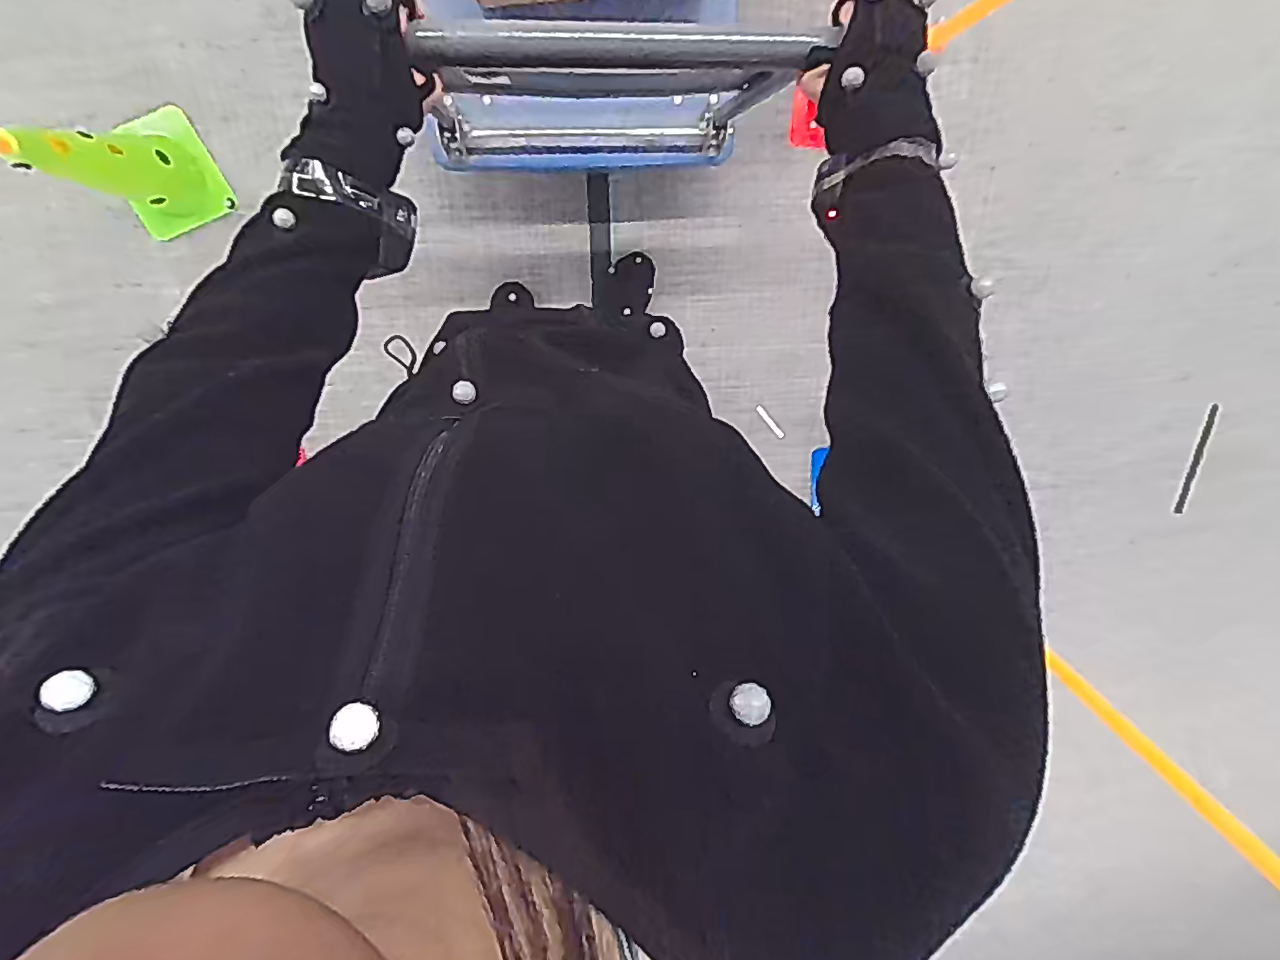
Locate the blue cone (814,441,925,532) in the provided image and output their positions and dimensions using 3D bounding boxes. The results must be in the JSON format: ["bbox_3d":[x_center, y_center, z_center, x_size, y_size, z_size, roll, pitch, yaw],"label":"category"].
[{"bbox_3d":[0.613,0.045,1.404,0.193,0.380,0.192,-8,112,-5],"label":"blue cone"}]

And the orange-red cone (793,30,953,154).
[{"bbox_3d":[0.468,-0.775,1.034,0.199,0.360,0.198,2,112,-9],"label":"orange-red cone"}]
